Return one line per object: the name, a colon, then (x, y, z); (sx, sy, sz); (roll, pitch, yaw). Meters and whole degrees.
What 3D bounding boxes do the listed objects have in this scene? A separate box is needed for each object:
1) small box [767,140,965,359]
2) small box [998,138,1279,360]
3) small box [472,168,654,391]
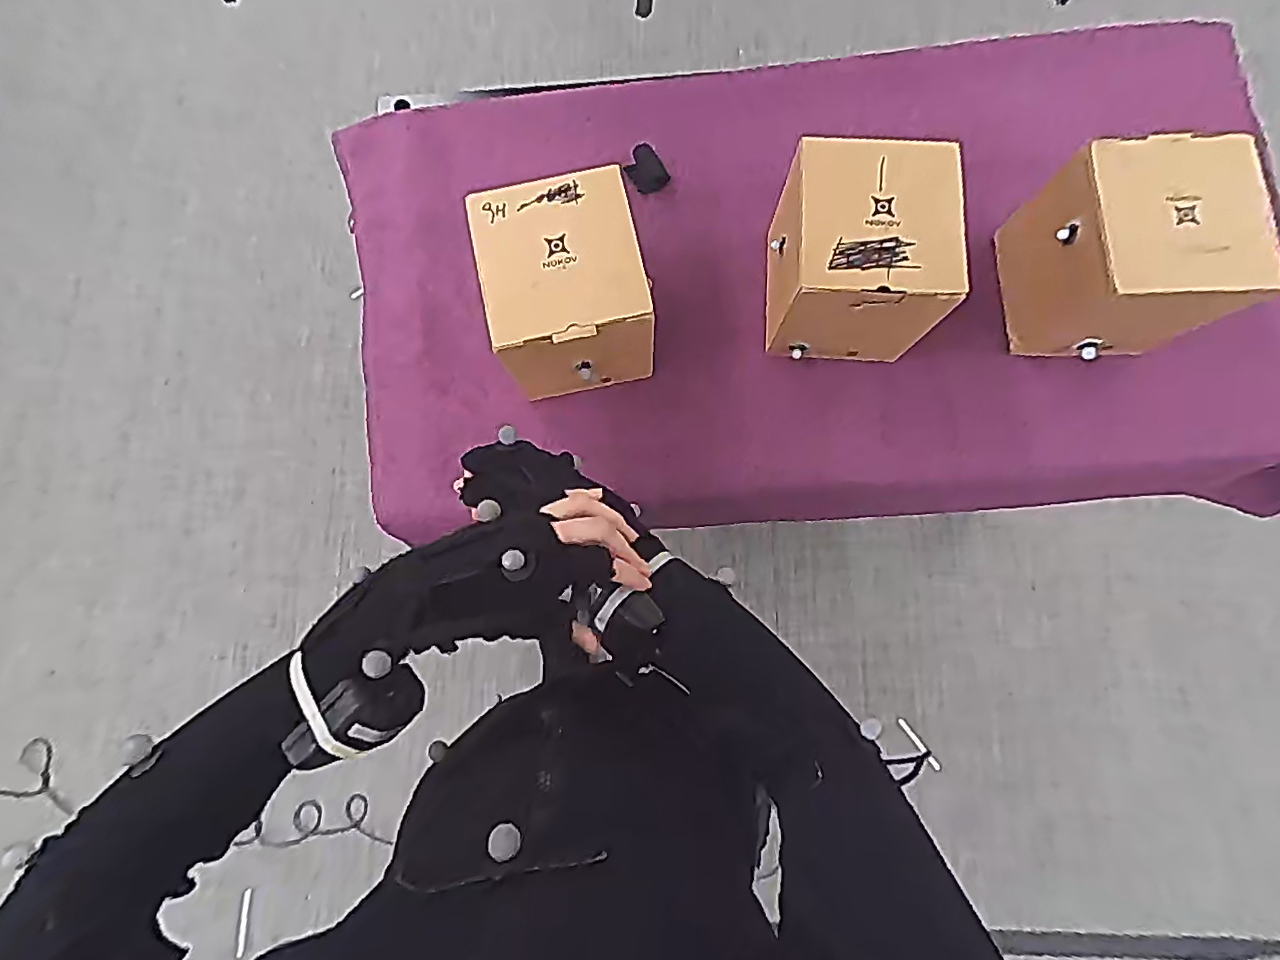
small box: (0.249, -0.255, 0.632); (0.168, 0.176, 0.179); (3, 79, 2)
small box: (0.552, -0.255, 0.628); (0.168, 0.176, 0.179); (-2, 80, 2)
small box: (-0.078, -0.215, 0.631); (0.168, 0.176, 0.179); (-12, 80, -1)
